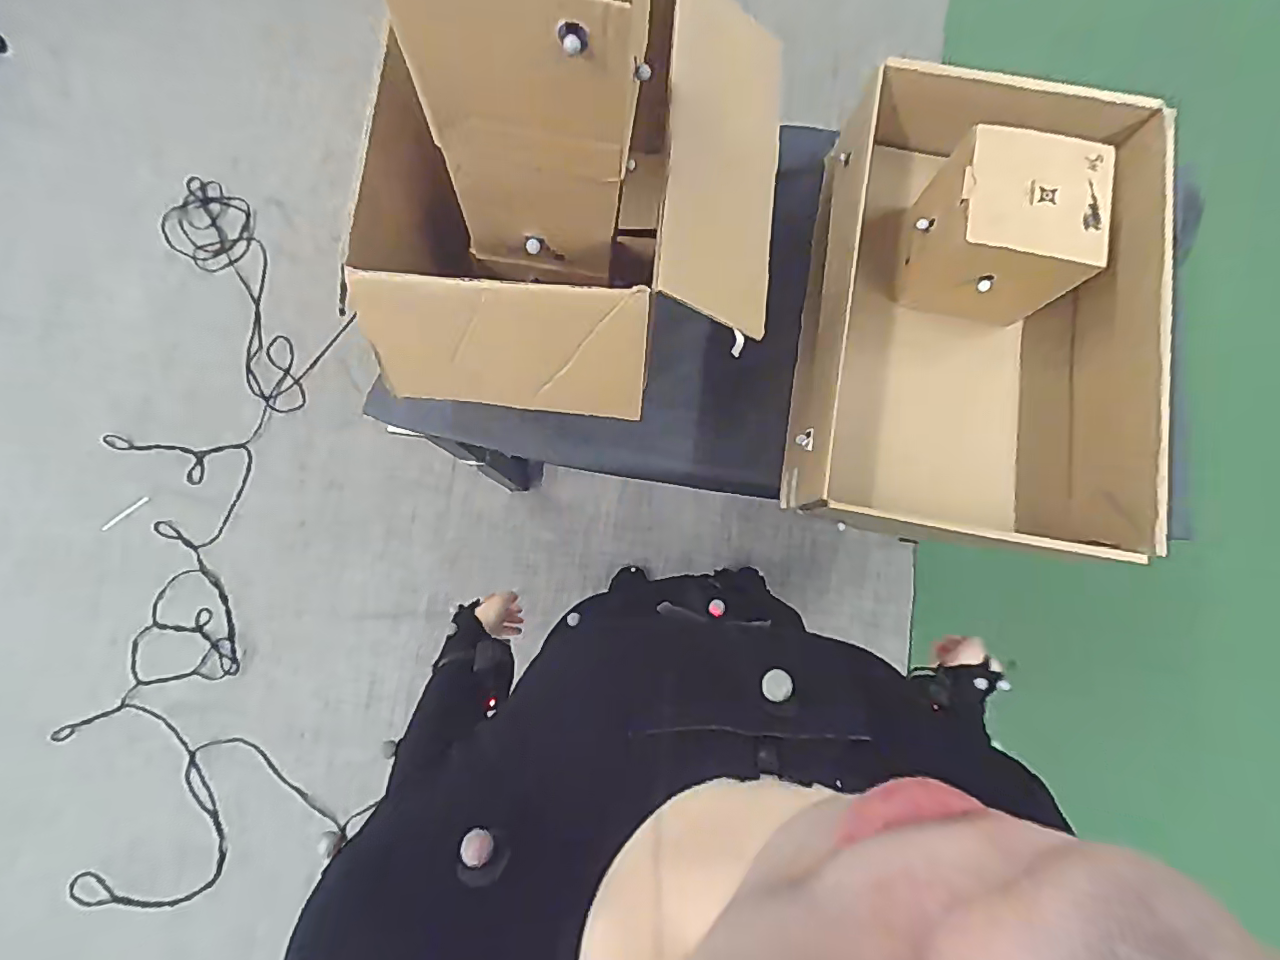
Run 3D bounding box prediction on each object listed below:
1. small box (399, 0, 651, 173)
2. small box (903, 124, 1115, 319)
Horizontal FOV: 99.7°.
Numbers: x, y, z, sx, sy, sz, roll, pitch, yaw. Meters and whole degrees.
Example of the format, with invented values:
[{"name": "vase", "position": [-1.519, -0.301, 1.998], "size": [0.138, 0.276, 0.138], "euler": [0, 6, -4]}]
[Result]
[{"name": "small box", "position": [-0.083, -0.384, 0.436], "size": [0.179, 0.176, 0.168], "euler": [9, 79, -4]}, {"name": "small box", "position": [0.485, -0.338, 0.735], "size": [0.179, 0.176, 0.168], "euler": [10, 83, 2]}]
